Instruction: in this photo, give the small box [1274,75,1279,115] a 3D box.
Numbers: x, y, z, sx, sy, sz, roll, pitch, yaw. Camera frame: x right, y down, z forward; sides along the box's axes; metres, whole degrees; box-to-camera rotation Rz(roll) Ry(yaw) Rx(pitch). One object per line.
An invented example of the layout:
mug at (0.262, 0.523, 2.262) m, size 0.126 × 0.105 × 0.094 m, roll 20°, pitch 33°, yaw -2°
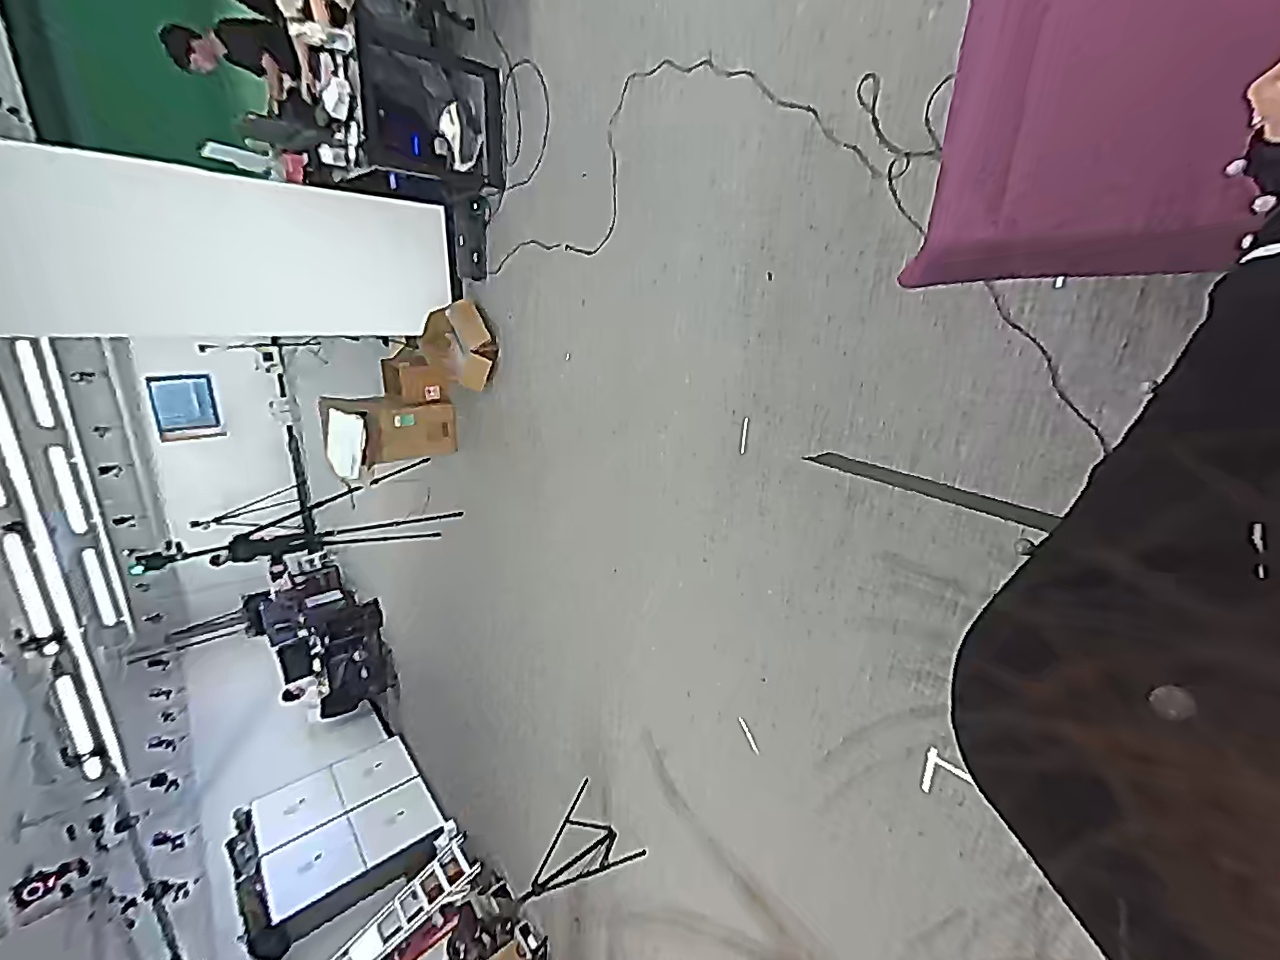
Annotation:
small box at (0.641, -0.391, 0.420) m, size 0.168 × 0.176 × 0.179 m, roll 17°, pitch 113°, yaw 48°
